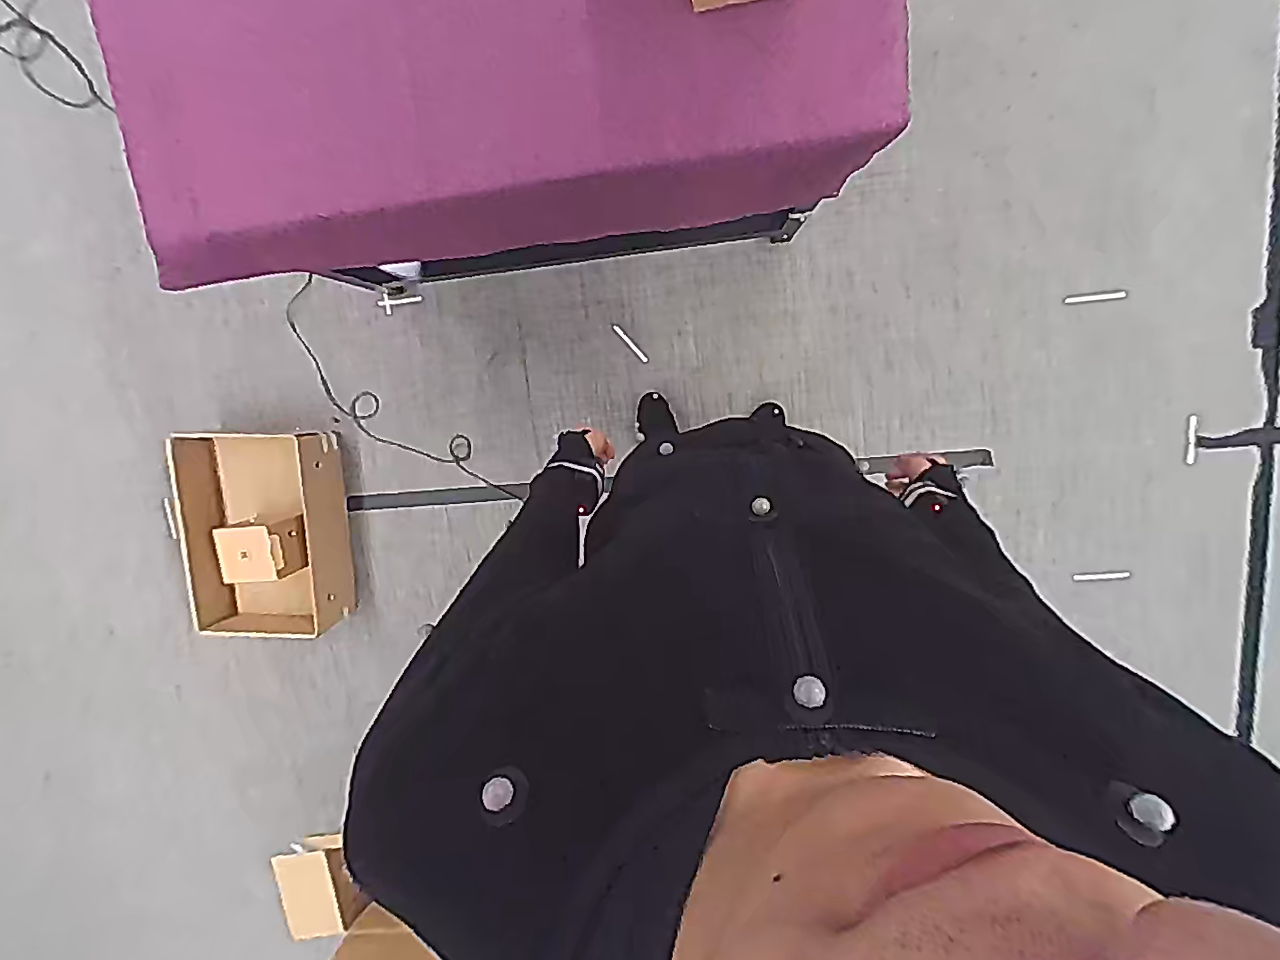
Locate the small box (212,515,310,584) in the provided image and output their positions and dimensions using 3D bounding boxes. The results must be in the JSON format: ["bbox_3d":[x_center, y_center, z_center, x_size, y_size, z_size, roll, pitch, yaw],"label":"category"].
[{"bbox_3d":[-1.132,0.204,1.634,0.179,0.176,0.168,-4,98,5],"label":"small box"}]
